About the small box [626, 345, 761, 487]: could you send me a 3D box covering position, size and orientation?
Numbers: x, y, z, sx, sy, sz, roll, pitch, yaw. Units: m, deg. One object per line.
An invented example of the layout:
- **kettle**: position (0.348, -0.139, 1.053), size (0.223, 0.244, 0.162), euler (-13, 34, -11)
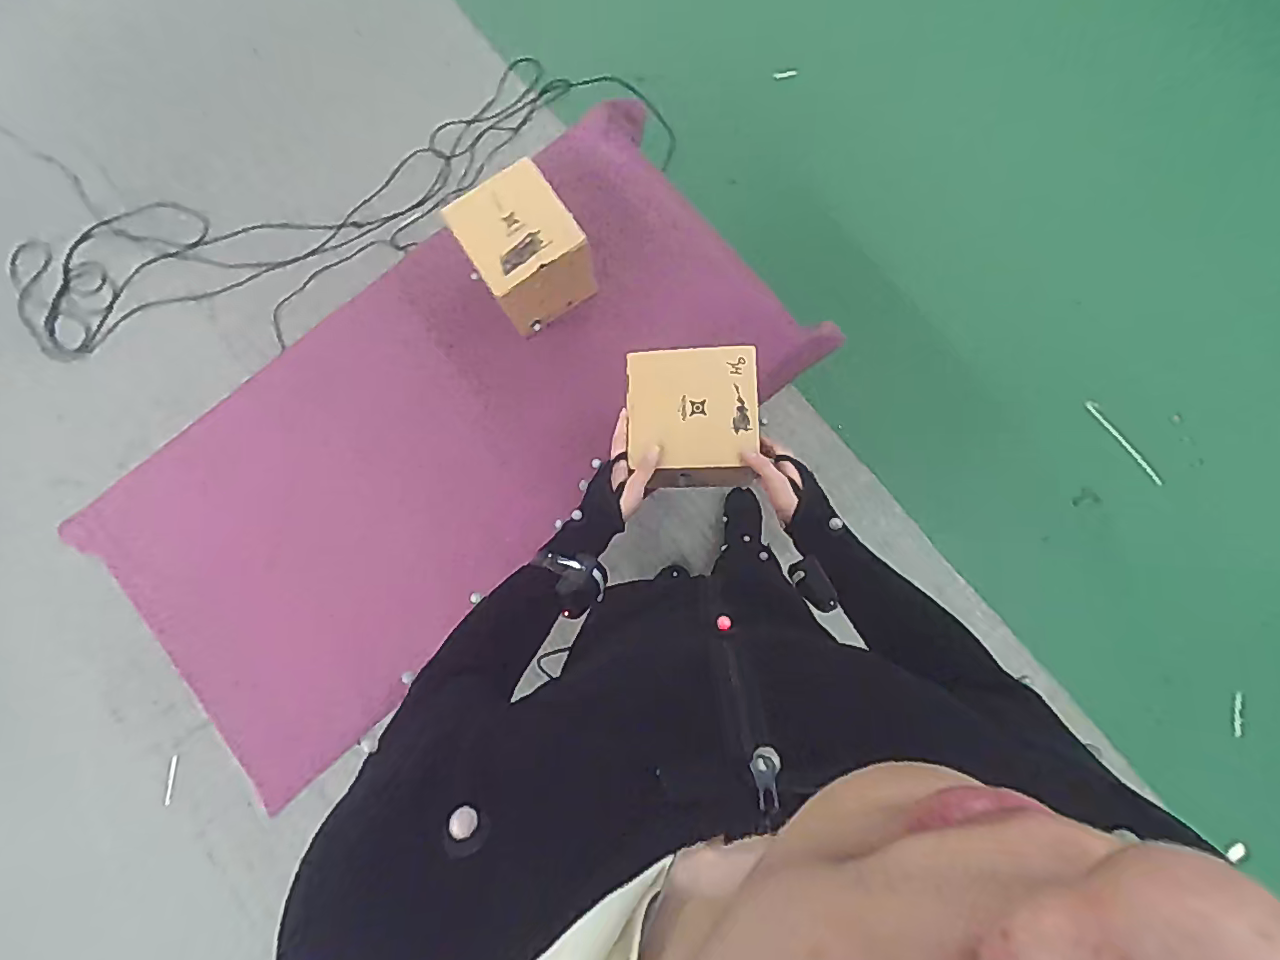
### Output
- **small box**: position (0.082, -0.082, 0.781), size (0.179, 0.176, 0.168), euler (0, 80, 8)

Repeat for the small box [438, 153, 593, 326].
- **small box**: position (-0.194, -0.382, 0.900), size (0.168, 0.176, 0.179), euler (-34, 83, -3)
